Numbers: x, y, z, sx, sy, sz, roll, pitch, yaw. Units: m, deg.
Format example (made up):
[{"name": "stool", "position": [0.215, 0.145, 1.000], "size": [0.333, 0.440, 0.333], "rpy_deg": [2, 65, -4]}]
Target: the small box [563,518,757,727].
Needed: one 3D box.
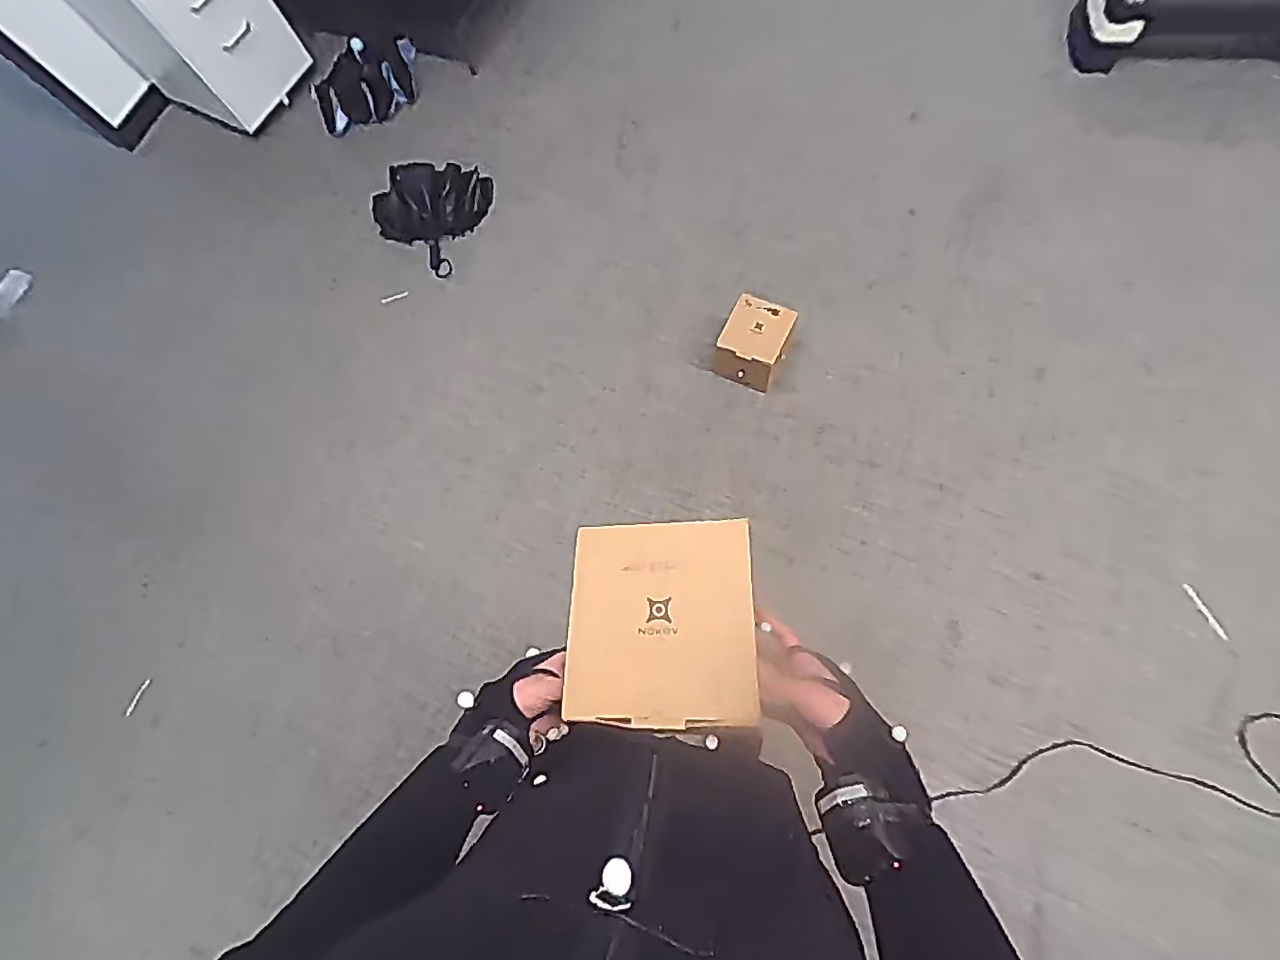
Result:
[{"name": "small box", "position": [0.031, 0.153, 0.552], "size": [0.168, 0.176, 0.179], "rpy_deg": [-3, 62, 10]}]

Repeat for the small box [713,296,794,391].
[{"name": "small box", "position": [0.317, -0.379, 1.529], "size": [0.168, 0.176, 0.179], "rpy_deg": [25, 79, 14]}]
